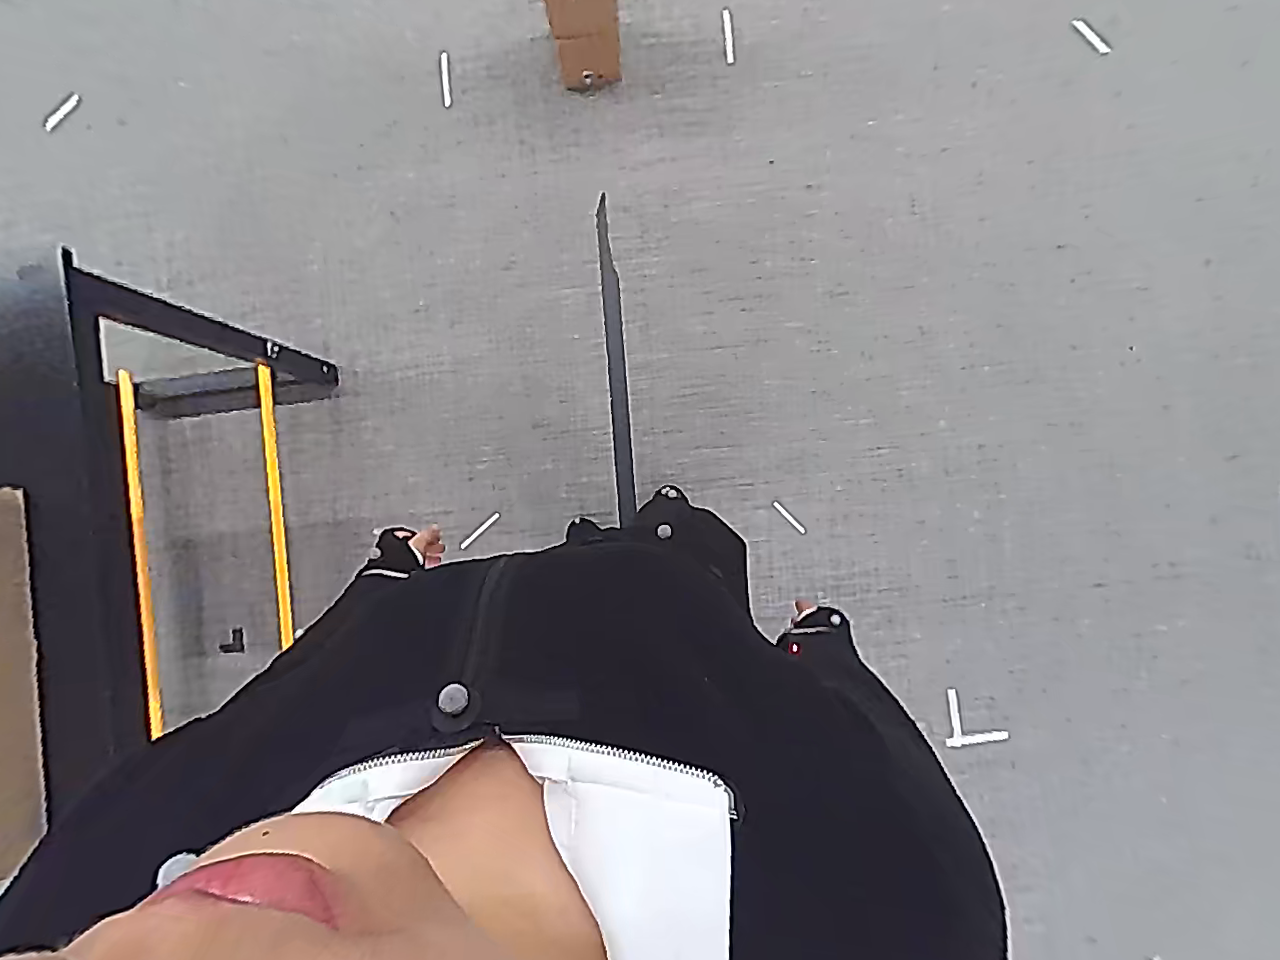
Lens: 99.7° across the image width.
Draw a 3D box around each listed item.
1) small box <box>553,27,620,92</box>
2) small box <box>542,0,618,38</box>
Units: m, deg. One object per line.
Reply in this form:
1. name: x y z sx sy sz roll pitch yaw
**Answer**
1. small box: -0.148 -1.182 1.432 0.168 0.176 0.179 -11 91 1
2. small box: -0.149 -1.185 1.268 0.179 0.176 0.168 -6 90 0
